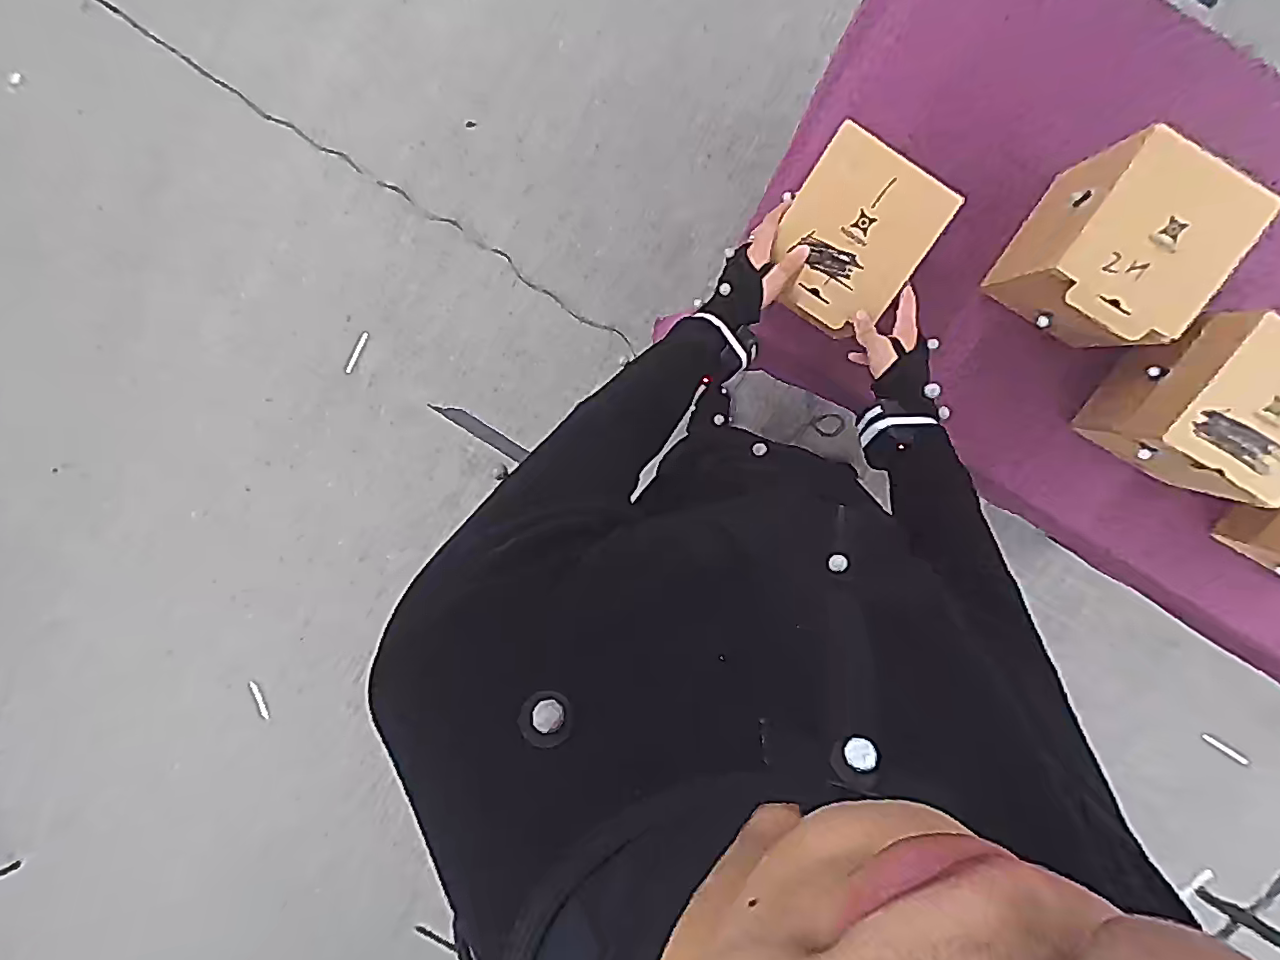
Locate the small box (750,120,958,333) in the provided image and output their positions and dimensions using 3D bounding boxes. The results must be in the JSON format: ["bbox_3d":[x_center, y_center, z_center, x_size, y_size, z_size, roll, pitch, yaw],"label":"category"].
[{"bbox_3d":[0.260,-0.310,0.709,0.168,0.176,0.179,33,102,-2],"label":"small box"}]

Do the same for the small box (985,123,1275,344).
[{"bbox_3d":[0.588,-0.290,0.681,0.168,0.176,0.179,31,103,-1],"label":"small box"}]

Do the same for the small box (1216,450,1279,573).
[{"bbox_3d":[0.959,0.056,0.719,0.168,0.176,0.179,29,103,-1],"label":"small box"}]
